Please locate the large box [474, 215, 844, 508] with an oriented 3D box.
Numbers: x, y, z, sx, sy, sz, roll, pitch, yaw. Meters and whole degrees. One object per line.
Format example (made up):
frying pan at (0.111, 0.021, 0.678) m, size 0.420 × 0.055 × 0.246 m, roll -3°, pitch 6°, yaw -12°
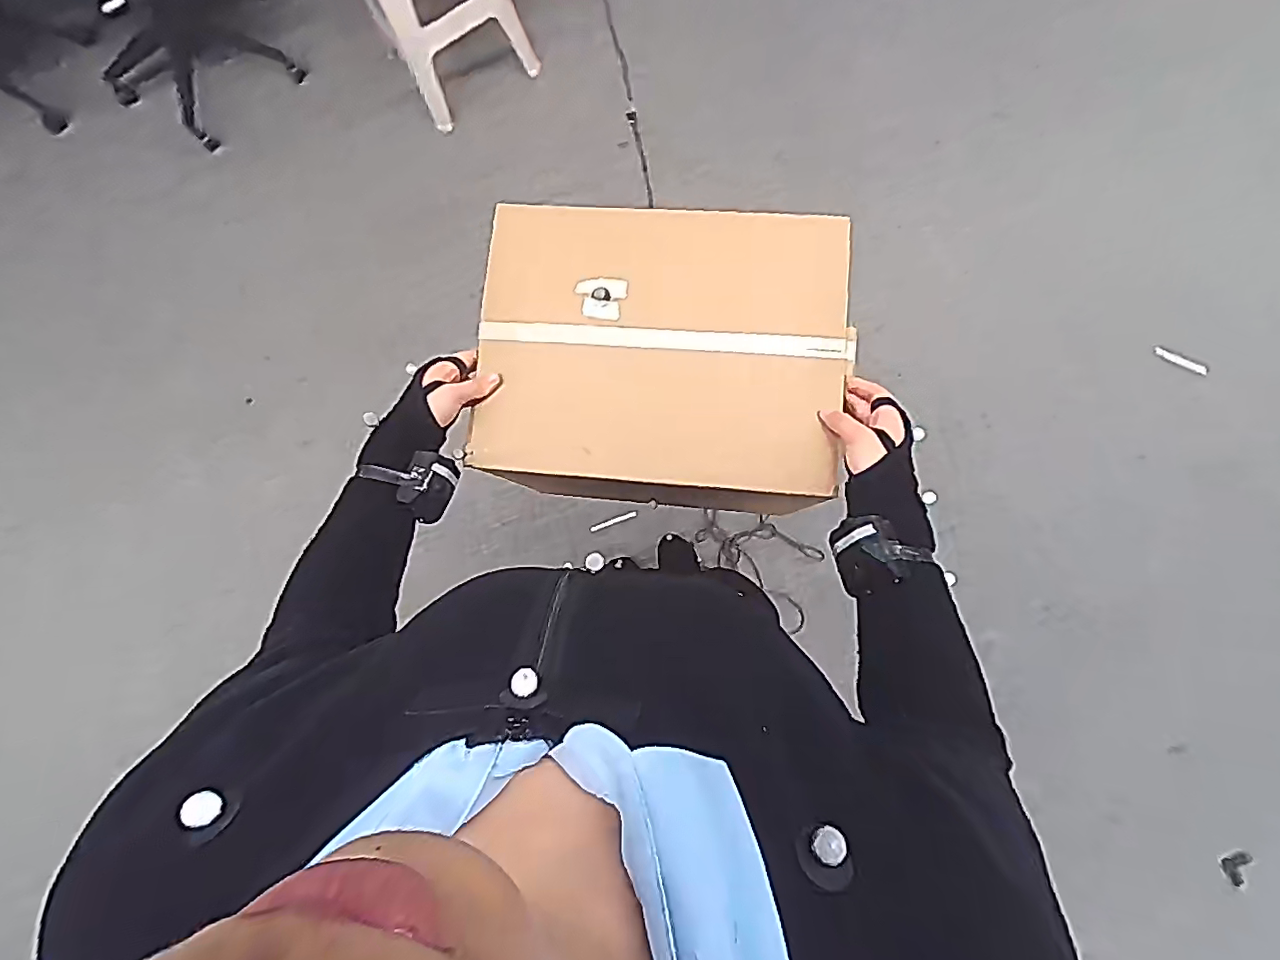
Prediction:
large box at (0.037, -0.134, 0.752) m, size 0.408 × 0.320 × 0.320 m, roll 5°, pitch 82°, yaw 7°
